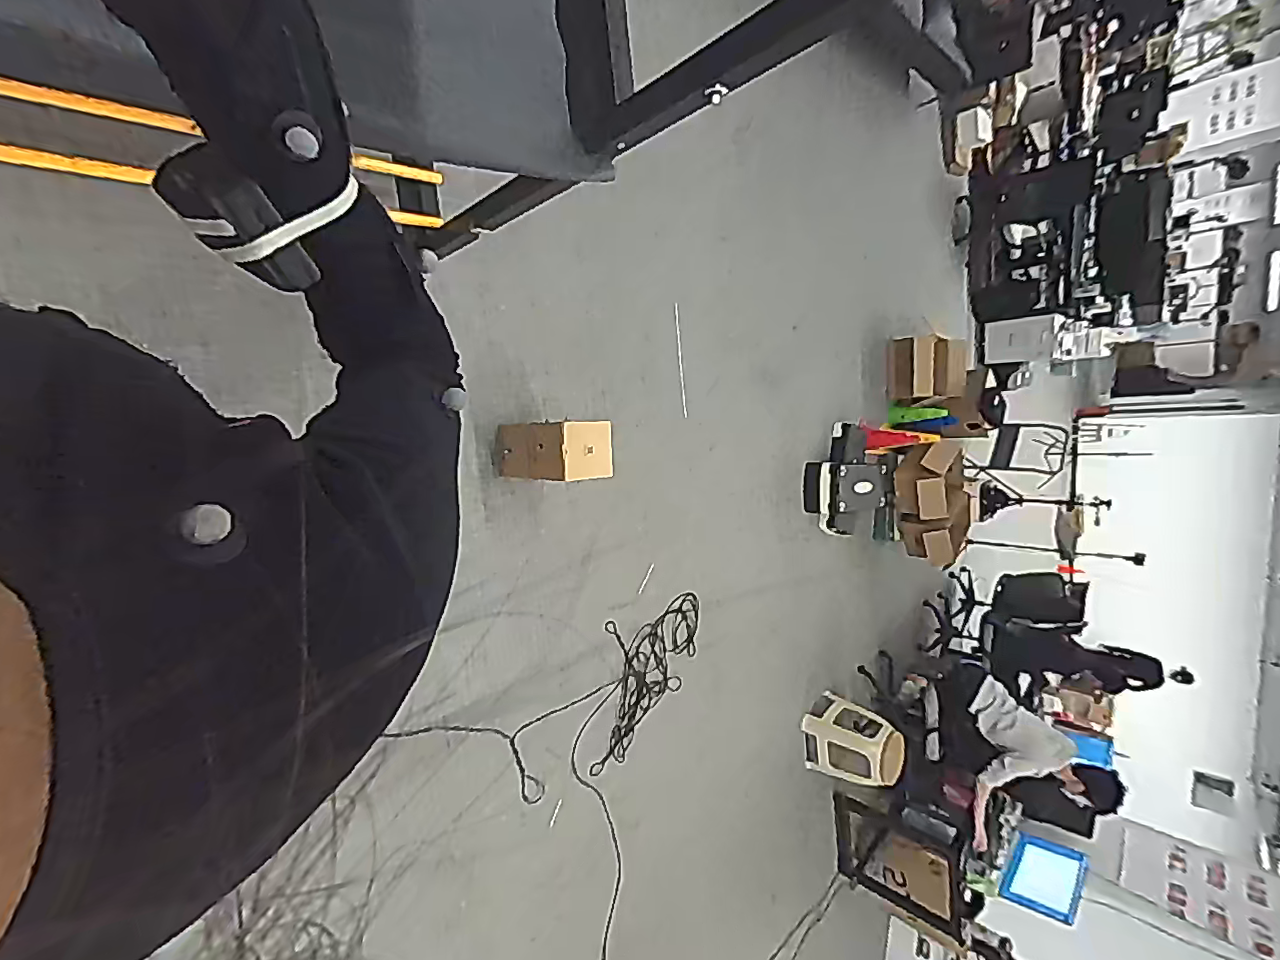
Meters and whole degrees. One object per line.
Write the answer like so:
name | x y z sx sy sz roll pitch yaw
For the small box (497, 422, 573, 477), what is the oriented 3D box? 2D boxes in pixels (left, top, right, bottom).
small box | -0.330 -0.098 1.697 0.179 0.176 0.168 -6 96 -44
